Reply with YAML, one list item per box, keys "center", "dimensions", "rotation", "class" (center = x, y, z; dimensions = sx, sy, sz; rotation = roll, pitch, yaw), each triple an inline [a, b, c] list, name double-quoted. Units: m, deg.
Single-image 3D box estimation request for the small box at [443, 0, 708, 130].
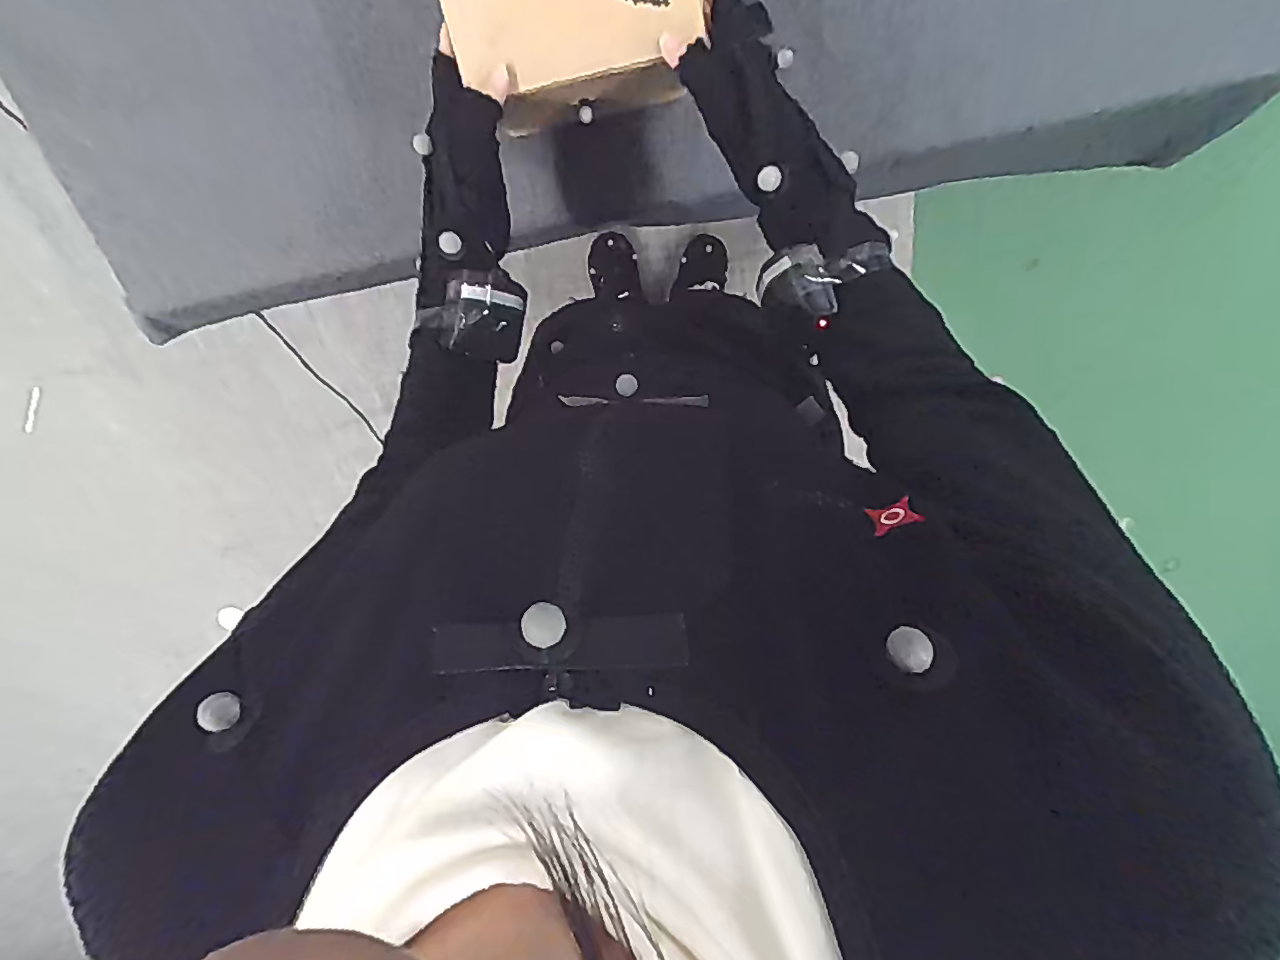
- center: [-0.054, -0.391, 0.418]
  dimensions: [0.179, 0.176, 0.168]
  rotation: [-10, 116, 5]
  class: "small box"
